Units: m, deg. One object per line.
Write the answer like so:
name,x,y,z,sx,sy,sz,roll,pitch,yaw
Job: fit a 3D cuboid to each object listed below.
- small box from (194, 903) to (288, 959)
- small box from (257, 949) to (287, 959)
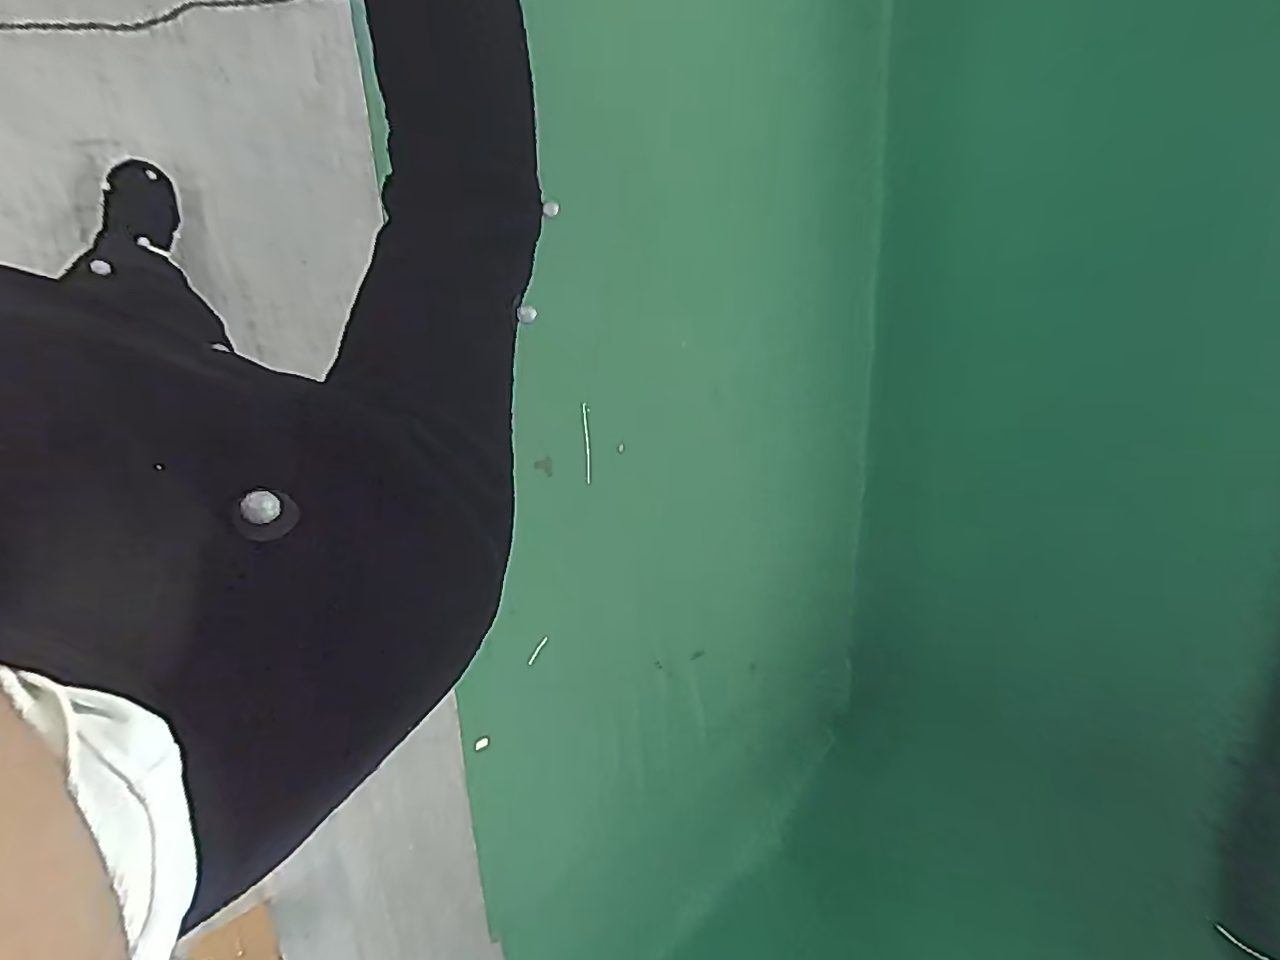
small box,-1.066,1.306,1.454,0.179,0.176,0.168,-17,110,-40
small box,-0.949,1.331,1.341,0.168,0.176,0.179,-21,112,-40
